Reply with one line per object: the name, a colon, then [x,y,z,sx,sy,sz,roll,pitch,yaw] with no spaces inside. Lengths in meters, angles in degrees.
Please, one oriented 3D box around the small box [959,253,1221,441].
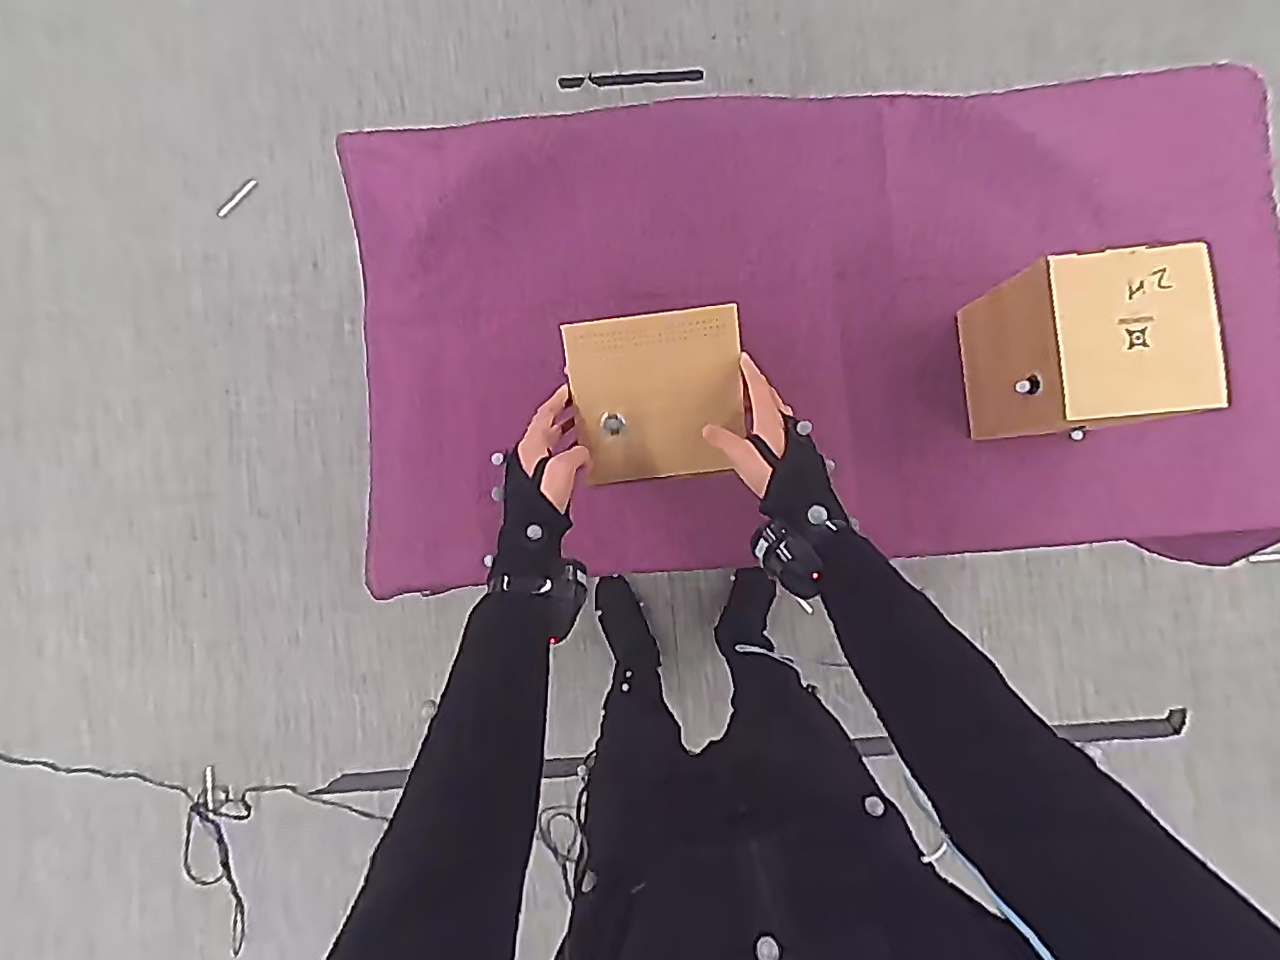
small box: [0.509,-0.141,0.638,0.168,0.176,0.179,-5,87,1]
